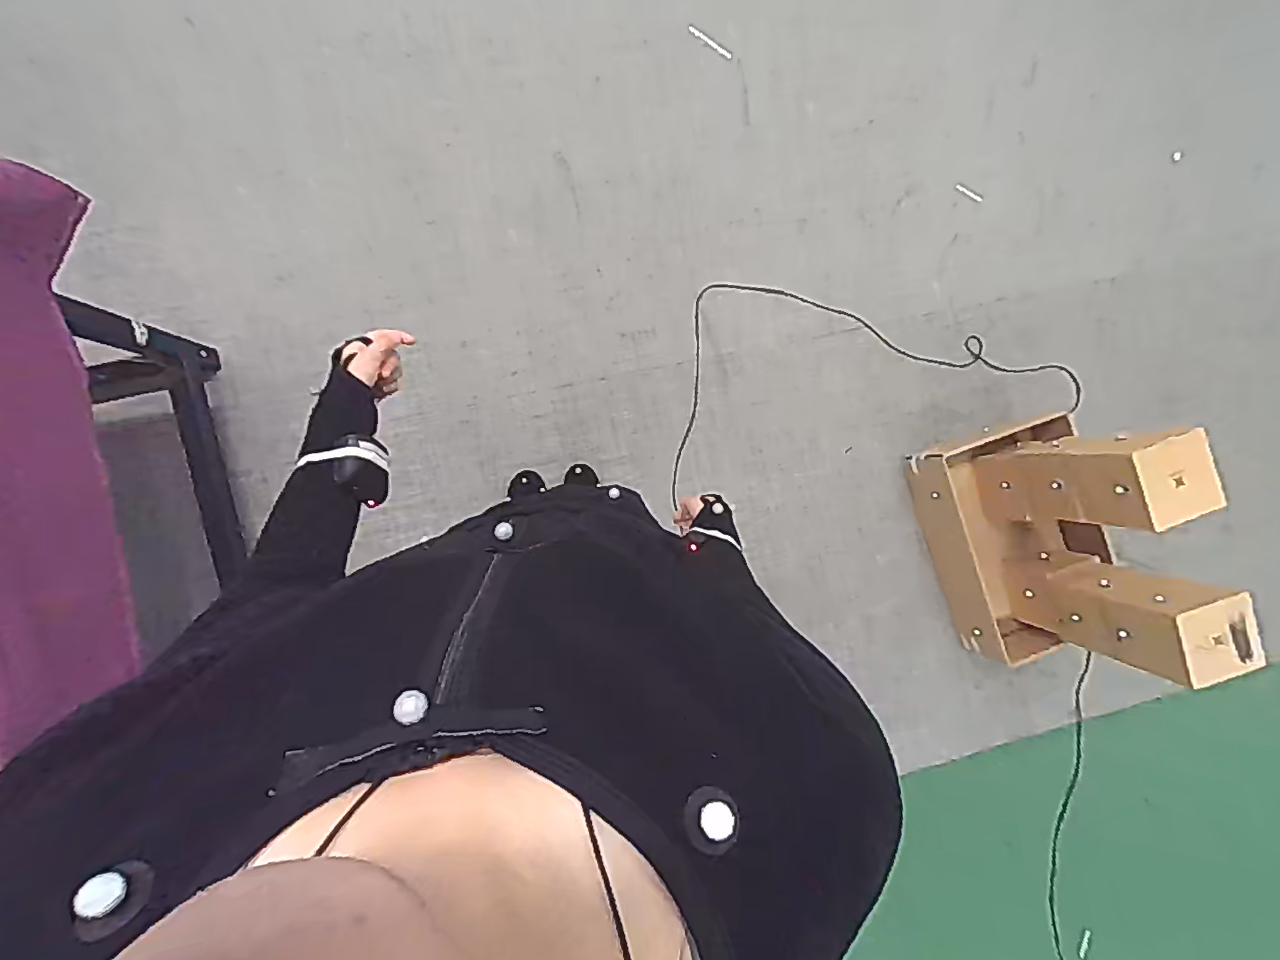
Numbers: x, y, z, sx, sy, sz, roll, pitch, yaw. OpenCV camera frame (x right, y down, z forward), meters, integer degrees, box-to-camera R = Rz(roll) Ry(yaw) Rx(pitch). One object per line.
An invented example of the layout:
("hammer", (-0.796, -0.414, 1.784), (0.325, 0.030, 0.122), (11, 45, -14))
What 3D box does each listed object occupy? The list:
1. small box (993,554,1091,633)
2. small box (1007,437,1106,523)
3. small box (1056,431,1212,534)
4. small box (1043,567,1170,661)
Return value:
("small box", (1.146, 0.315, 1.533), (0.168, 0.176, 0.179), (-15, 92, -5))
("small box", (1.063, -0.002, 1.356), (0.168, 0.176, 0.179), (-15, 94, -4))
("small box", (1.079, 0.002, 1.194), (0.168, 0.176, 0.179), (-20, 92, -3))
("small box", (1.166, 0.332, 1.370), (0.179, 0.176, 0.168), (-15, 93, -6))
